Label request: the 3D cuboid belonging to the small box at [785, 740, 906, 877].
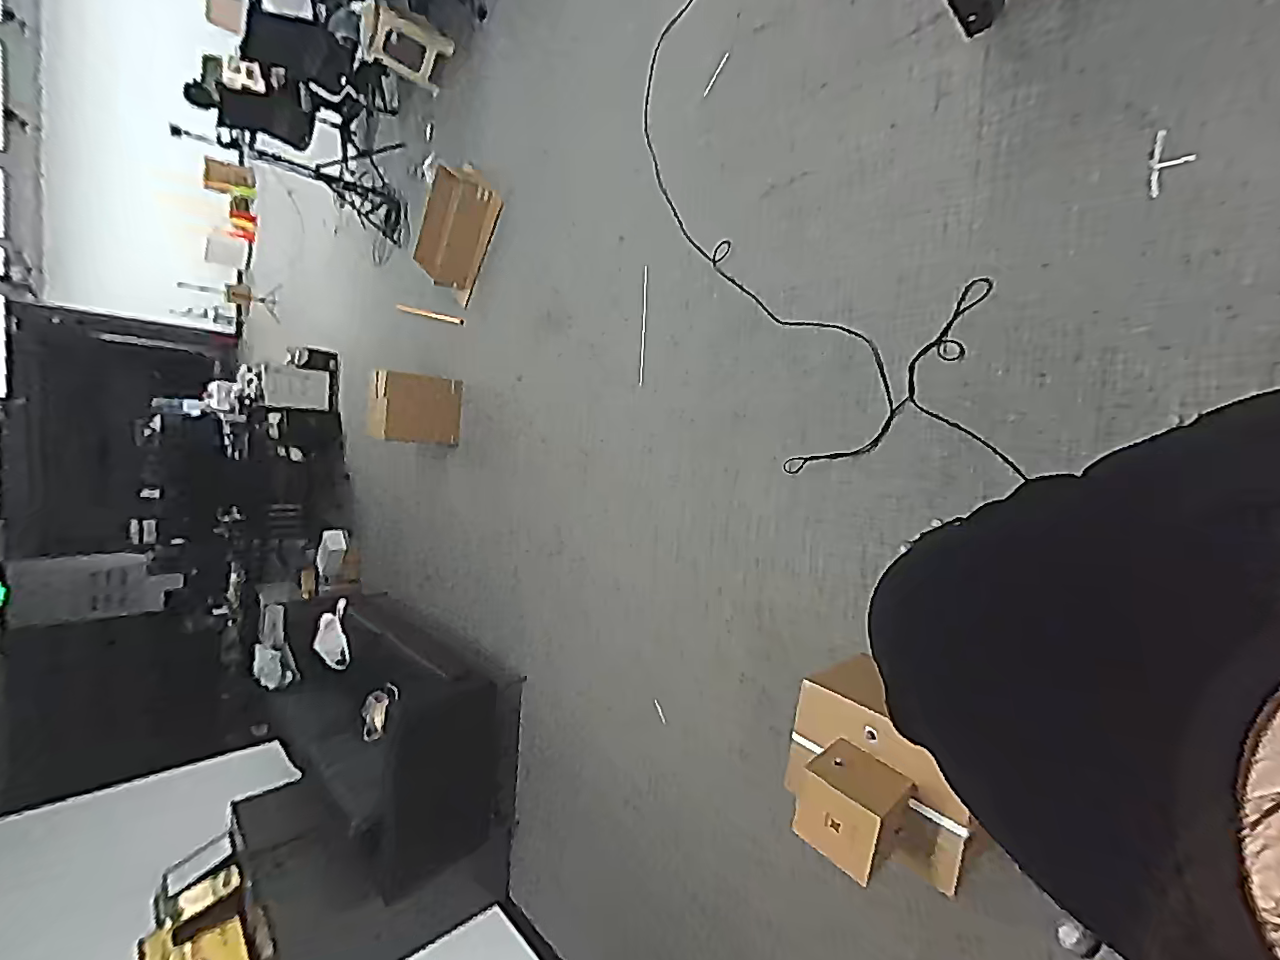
[{"bbox_3d":[0.452,0.706,1.192,0.179,0.176,0.168,19,107,44],"label":"small box"}]
